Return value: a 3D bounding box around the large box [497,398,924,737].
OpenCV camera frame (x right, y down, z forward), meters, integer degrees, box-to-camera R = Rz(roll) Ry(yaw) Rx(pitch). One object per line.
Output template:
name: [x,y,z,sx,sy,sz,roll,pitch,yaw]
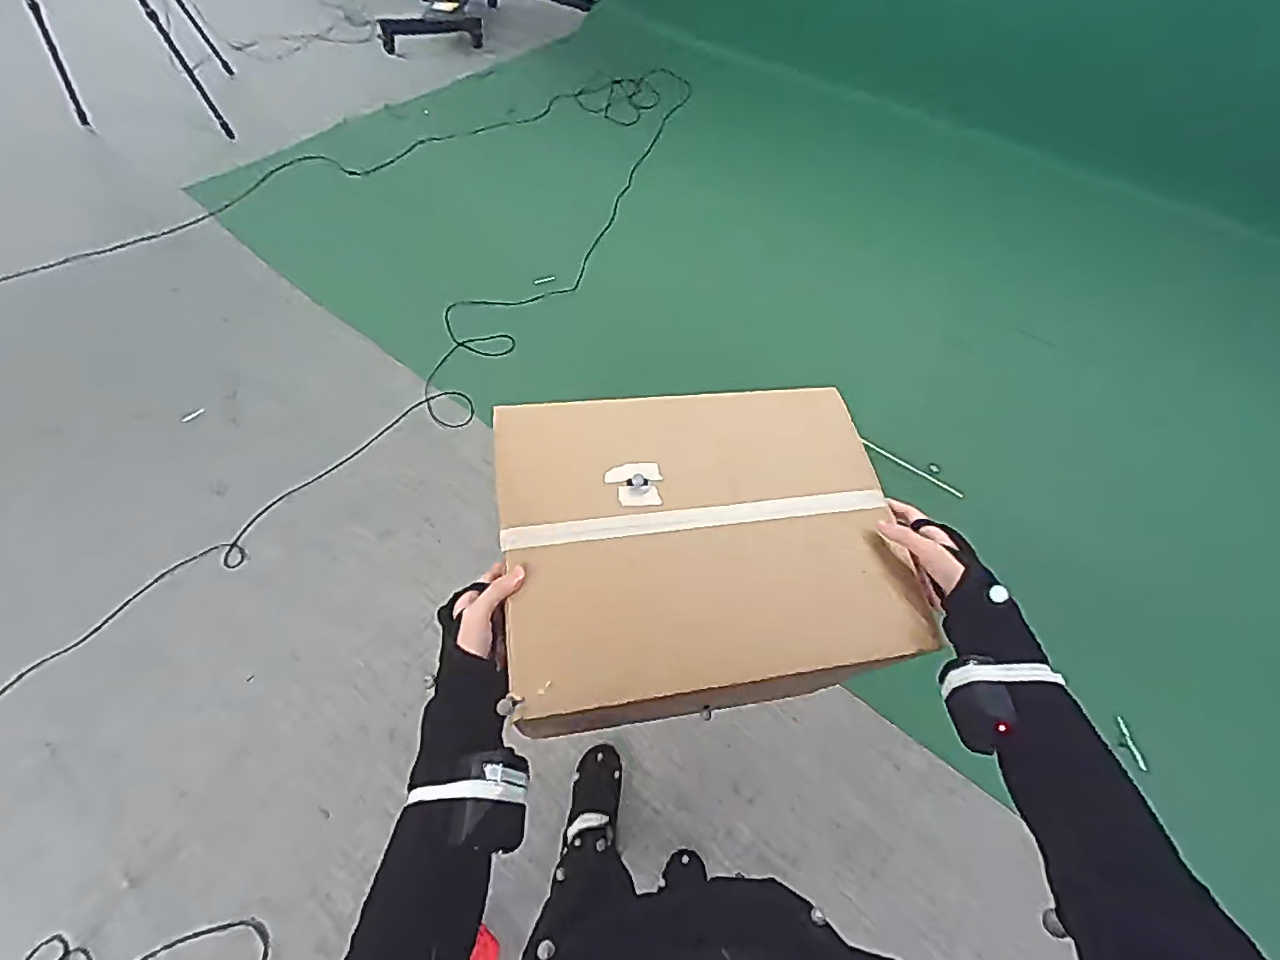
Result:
large box: [0.047,0.122,0.691,0.408,0.320,0.320,-6,62,-11]
